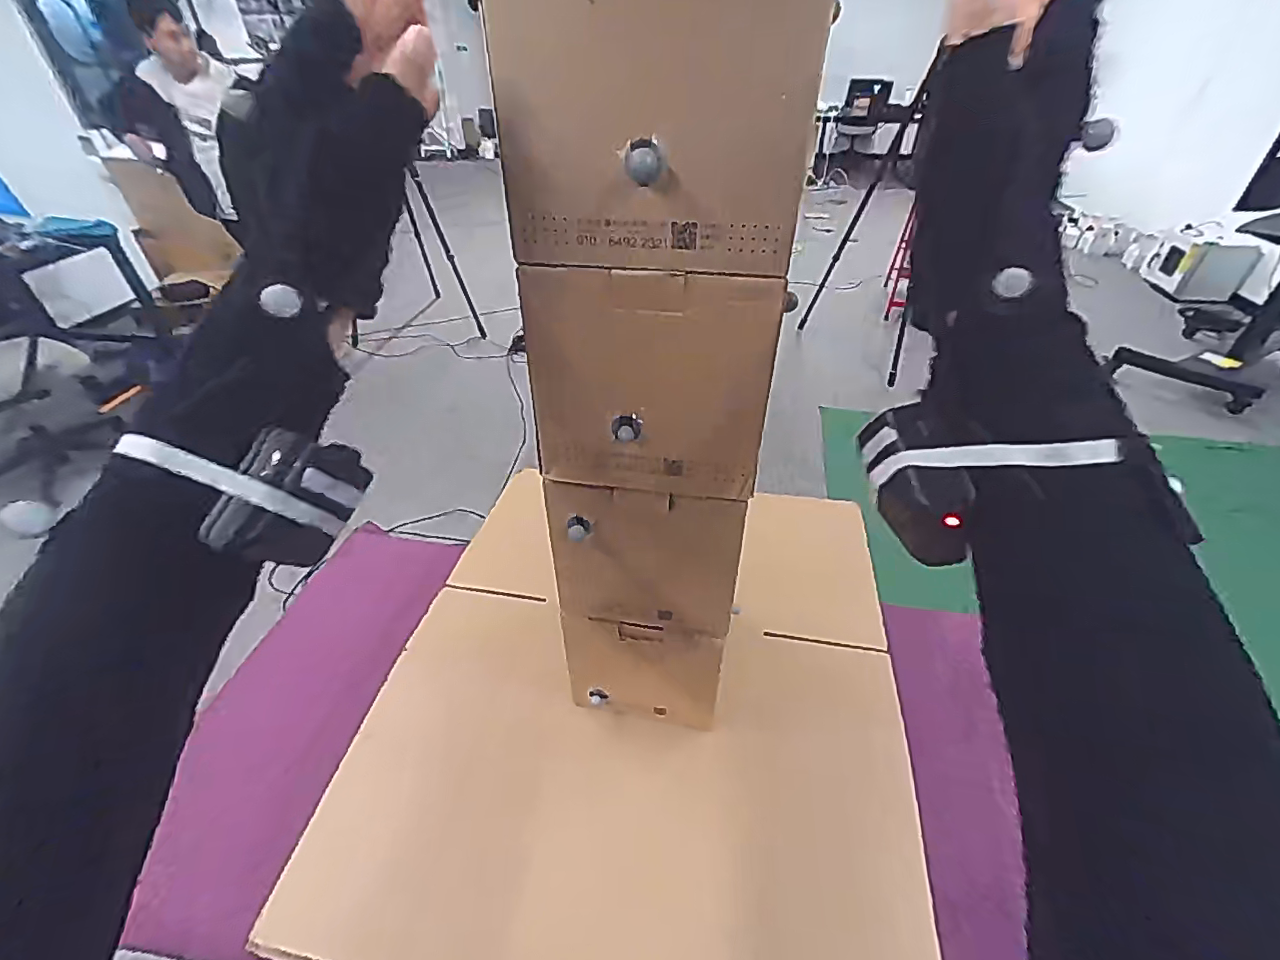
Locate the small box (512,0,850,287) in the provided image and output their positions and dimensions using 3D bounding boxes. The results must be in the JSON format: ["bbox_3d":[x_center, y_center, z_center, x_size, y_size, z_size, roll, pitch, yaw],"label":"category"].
[{"bbox_3d":[0.025,-0.236,0.341,0.168,0.176,0.179,6,37,7],"label":"small box"}]

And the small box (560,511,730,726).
[{"bbox_3d":[0.014,0.161,0.632,0.168,0.176,0.179,5,39,6],"label":"small box"}]

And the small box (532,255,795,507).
[{"bbox_3d":[0.022,-0.103,0.438,0.168,0.176,0.179,6,37,6],"label":"small box"}]
